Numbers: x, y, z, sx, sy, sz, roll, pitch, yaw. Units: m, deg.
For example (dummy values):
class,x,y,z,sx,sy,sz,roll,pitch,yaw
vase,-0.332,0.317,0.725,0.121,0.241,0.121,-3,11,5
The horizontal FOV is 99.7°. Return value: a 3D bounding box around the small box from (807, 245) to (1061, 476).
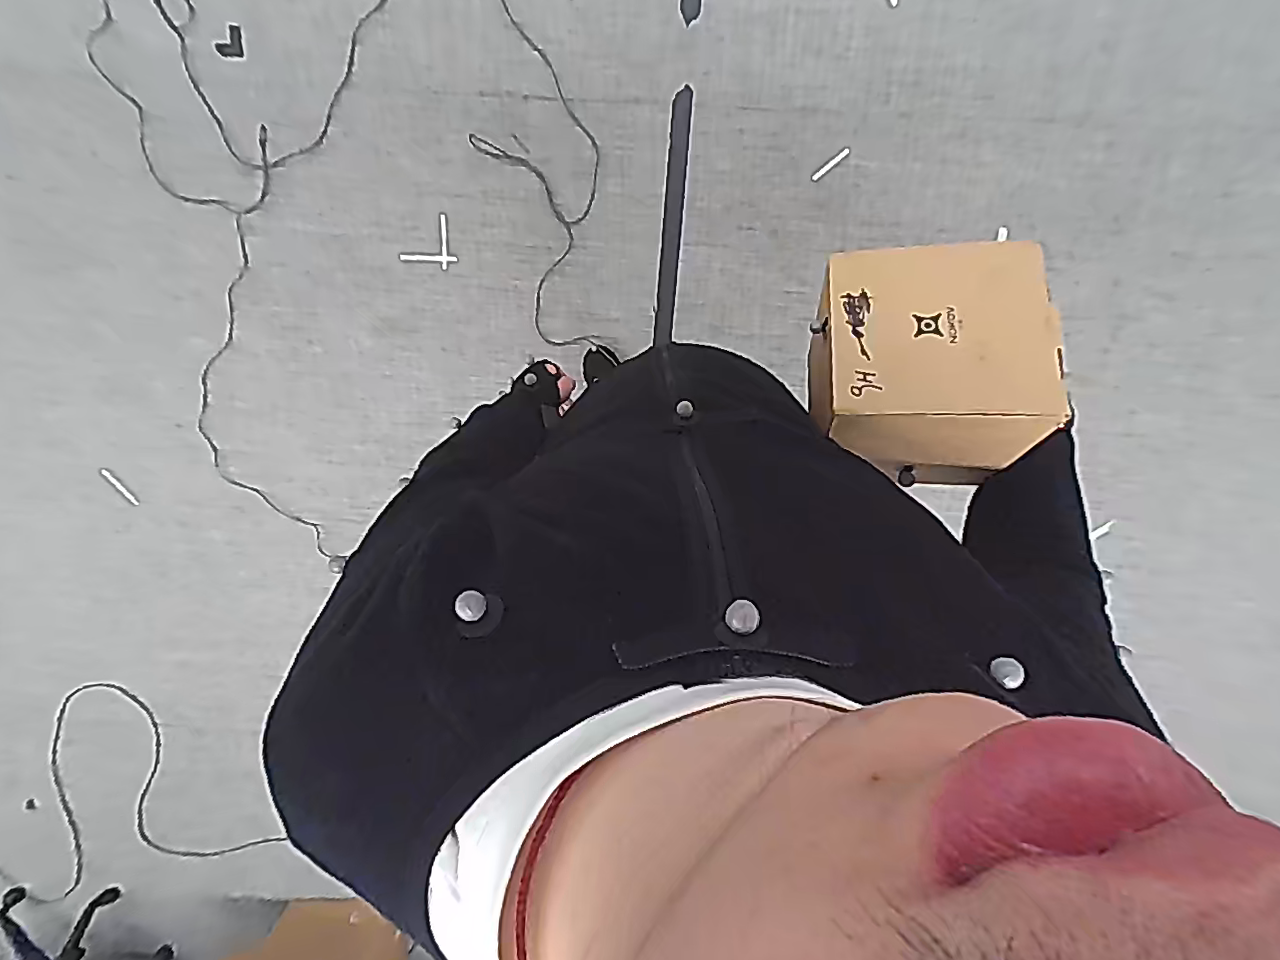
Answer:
class,x,y,z,sx,sy,sz,roll,pitch,yaw
small box,0.270,-0.108,0.542,0.179,0.176,0.168,2,71,11
